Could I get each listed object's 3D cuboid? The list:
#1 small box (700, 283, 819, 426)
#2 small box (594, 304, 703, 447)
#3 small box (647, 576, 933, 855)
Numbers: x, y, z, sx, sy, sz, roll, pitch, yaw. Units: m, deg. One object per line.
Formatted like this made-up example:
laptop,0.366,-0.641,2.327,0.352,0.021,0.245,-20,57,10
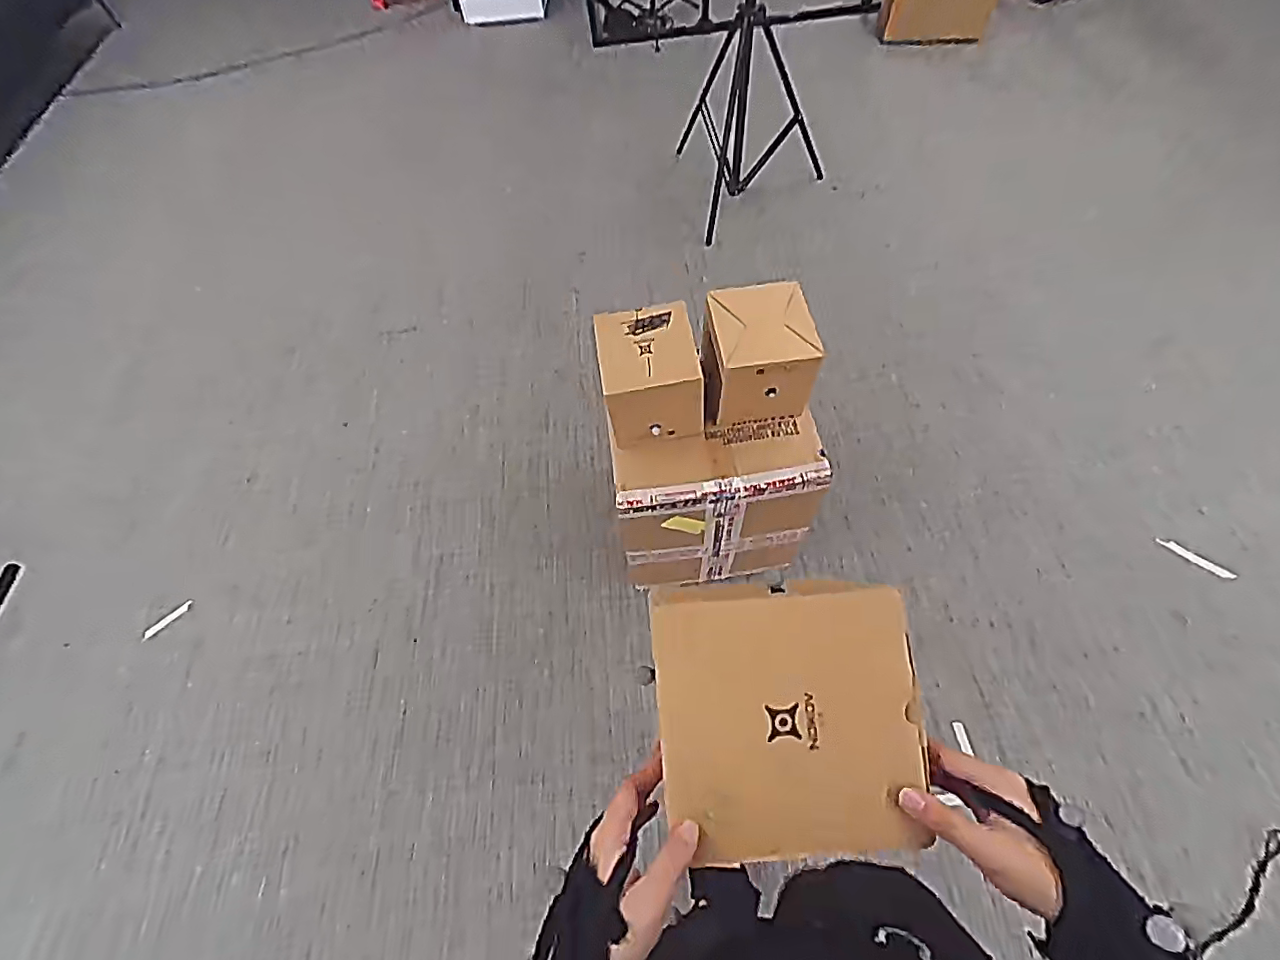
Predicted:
small box,0.209,-0.224,0.980,0.168,0.176,0.179,-7,62,-2
small box,0.017,-0.184,0.976,0.168,0.176,0.179,-10,62,2
small box,0.097,0.167,0.437,0.179,0.176,0.168,-4,82,-2
